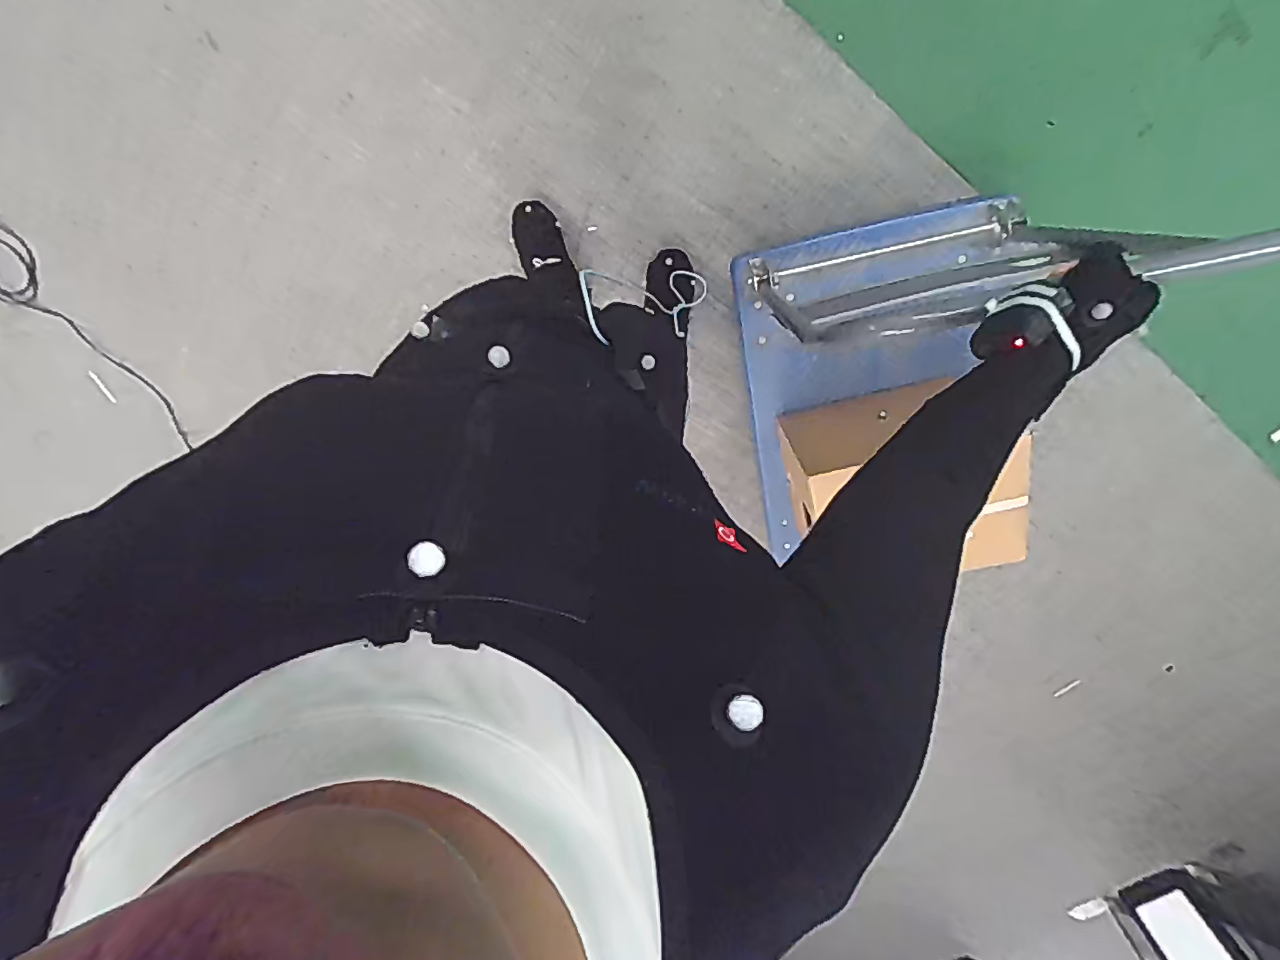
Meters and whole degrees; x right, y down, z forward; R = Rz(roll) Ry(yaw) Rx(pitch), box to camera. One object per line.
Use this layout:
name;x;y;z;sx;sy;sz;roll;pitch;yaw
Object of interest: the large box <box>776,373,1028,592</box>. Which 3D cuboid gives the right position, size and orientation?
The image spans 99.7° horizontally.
large box;0.554;-0.004;1.201;0.408;0.320;0.320;-14;118;8
